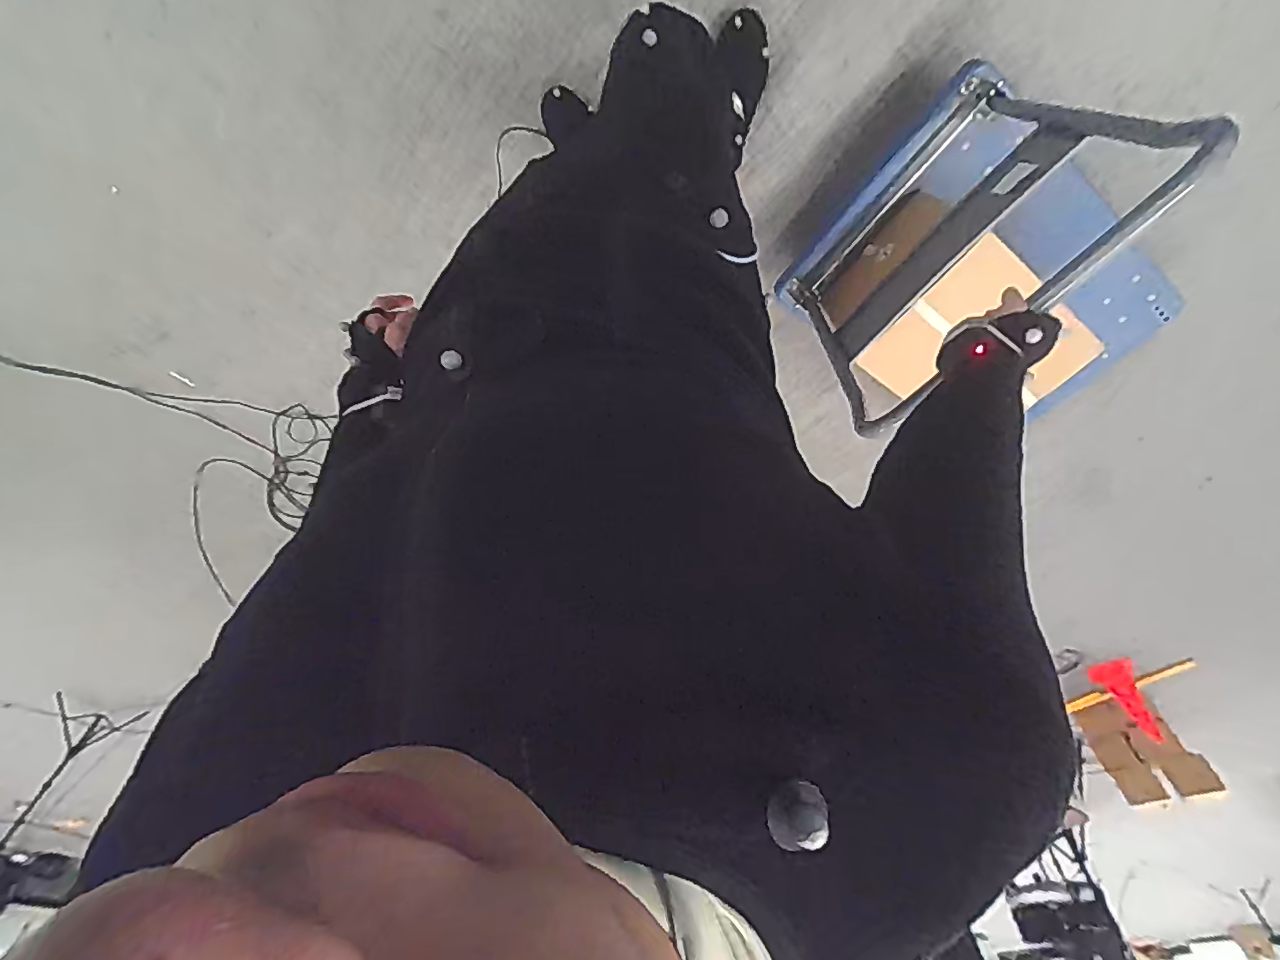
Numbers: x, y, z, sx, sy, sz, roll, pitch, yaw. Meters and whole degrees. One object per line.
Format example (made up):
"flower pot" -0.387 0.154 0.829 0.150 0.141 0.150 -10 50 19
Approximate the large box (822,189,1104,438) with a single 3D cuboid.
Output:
"large box" 0.692 -0.370 1.218 0.408 0.320 0.320 27 126 -22
